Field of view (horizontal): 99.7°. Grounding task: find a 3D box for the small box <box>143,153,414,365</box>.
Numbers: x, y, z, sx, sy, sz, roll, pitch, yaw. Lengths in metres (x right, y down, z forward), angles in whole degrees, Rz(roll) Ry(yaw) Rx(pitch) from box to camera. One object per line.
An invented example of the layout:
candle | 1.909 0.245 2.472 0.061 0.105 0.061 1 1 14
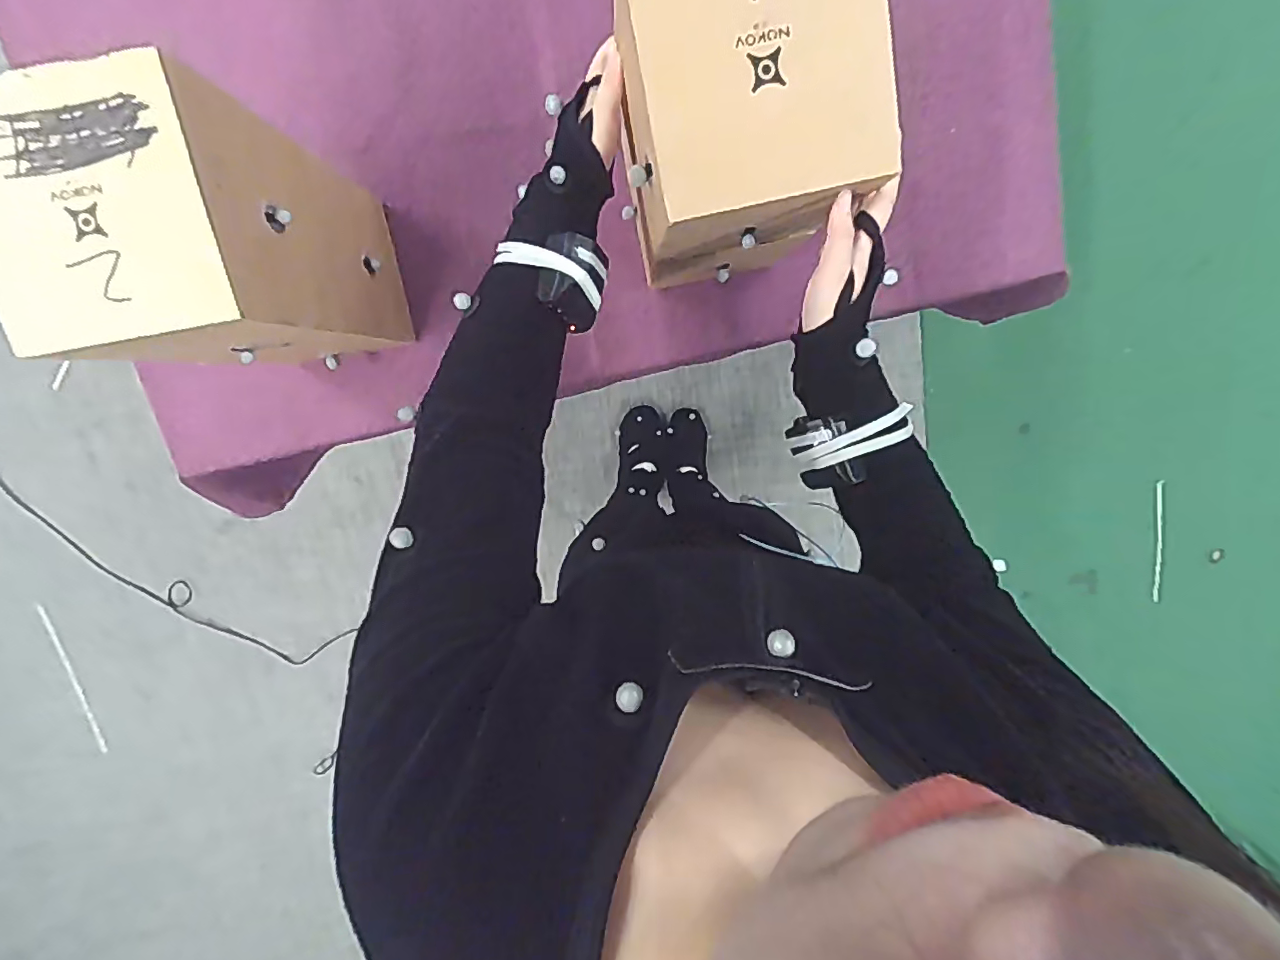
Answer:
small box | -0.380 -0.229 0.606 0.168 0.176 0.179 -10 102 0

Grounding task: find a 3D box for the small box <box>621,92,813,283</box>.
small box | 0.077 -0.326 0.599 0.168 0.176 0.179 -12 102 1

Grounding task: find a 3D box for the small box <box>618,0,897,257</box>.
small box | 0.079 -0.290 0.433 0.168 0.176 0.179 -12 103 0
